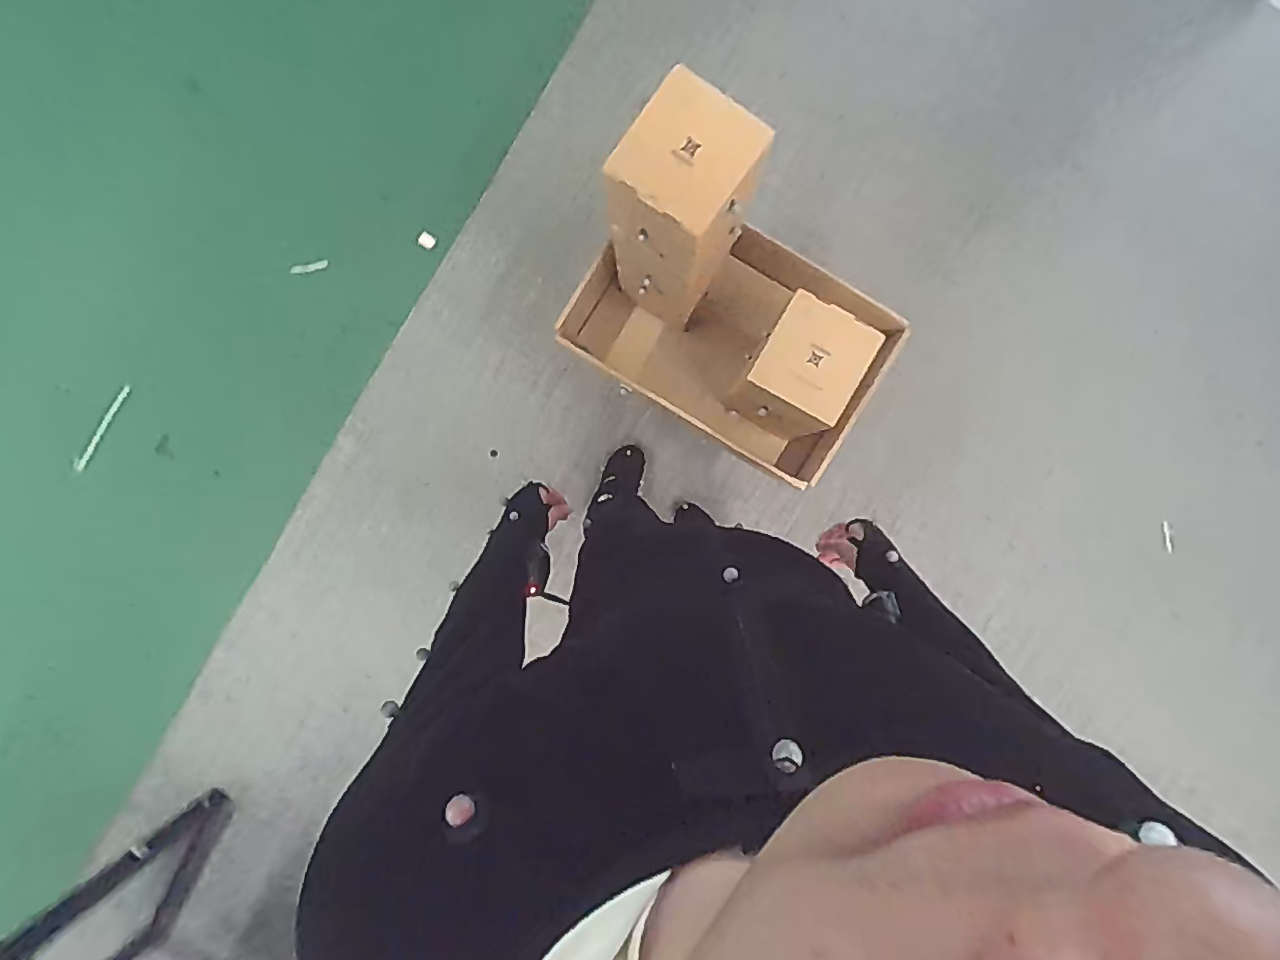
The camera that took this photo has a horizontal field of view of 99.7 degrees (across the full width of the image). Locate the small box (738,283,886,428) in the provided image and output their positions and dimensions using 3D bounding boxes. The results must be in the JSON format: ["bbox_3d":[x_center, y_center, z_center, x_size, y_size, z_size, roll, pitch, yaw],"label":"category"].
[{"bbox_3d":[0.291,-0.209,0.960,0.168,0.176,0.179,31,91,1],"label":"small box"}]

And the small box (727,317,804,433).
[{"bbox_3d":[0.296,-0.211,1.123,0.168,0.176,0.179,32,90,1],"label":"small box"}]

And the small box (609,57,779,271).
[{"bbox_3d":[0.072,-0.450,0.801,0.168,0.176,0.179,37,92,1],"label":"small box"}]

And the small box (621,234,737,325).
[{"bbox_3d":[0.074,-0.455,1.127,0.168,0.176,0.179,34,91,0],"label":"small box"}]

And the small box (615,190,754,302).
[{"bbox_3d":[0.073,-0.453,0.963,0.168,0.176,0.179,36,92,2],"label":"small box"}]
